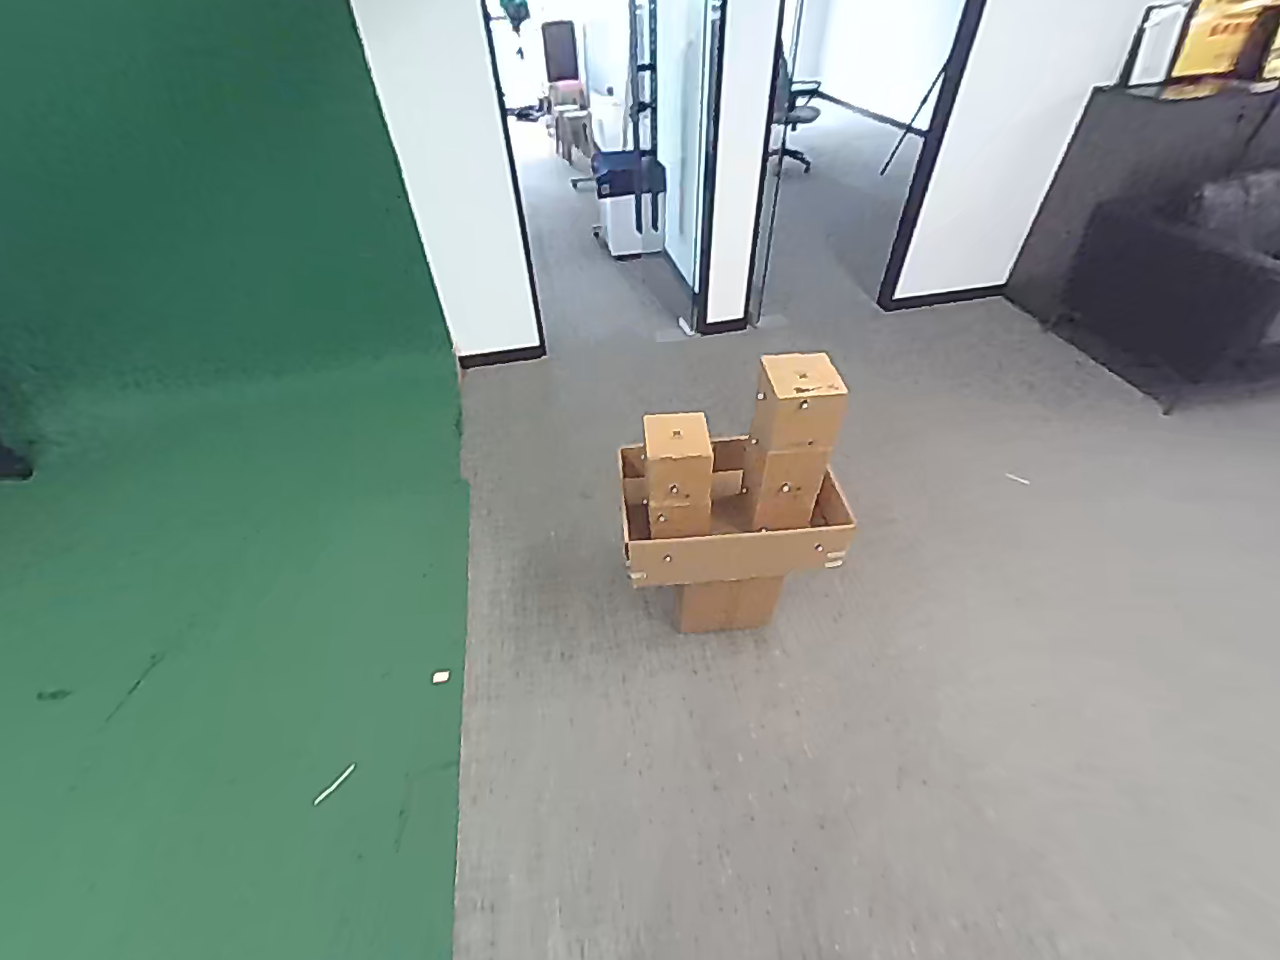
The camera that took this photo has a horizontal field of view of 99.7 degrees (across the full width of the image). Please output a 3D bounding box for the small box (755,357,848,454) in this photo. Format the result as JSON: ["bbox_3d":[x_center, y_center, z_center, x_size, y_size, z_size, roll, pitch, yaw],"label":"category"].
[{"bbox_3d":[0.391,-0.185,1.342,0.168,0.176,0.179,-4,44,-1],"label":"small box"}]

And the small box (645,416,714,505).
[{"bbox_3d":[0.100,-0.051,1.450,0.168,0.176,0.179,-3,44,-2],"label":"small box"}]

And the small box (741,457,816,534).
[{"bbox_3d":[0.396,0.046,1.572,0.168,0.176,0.179,-3,44,-2],"label":"small box"}]

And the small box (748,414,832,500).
[{"bbox_3d":[0.393,-0.067,1.456,0.168,0.176,0.179,-4,45,-1],"label":"small box"}]
